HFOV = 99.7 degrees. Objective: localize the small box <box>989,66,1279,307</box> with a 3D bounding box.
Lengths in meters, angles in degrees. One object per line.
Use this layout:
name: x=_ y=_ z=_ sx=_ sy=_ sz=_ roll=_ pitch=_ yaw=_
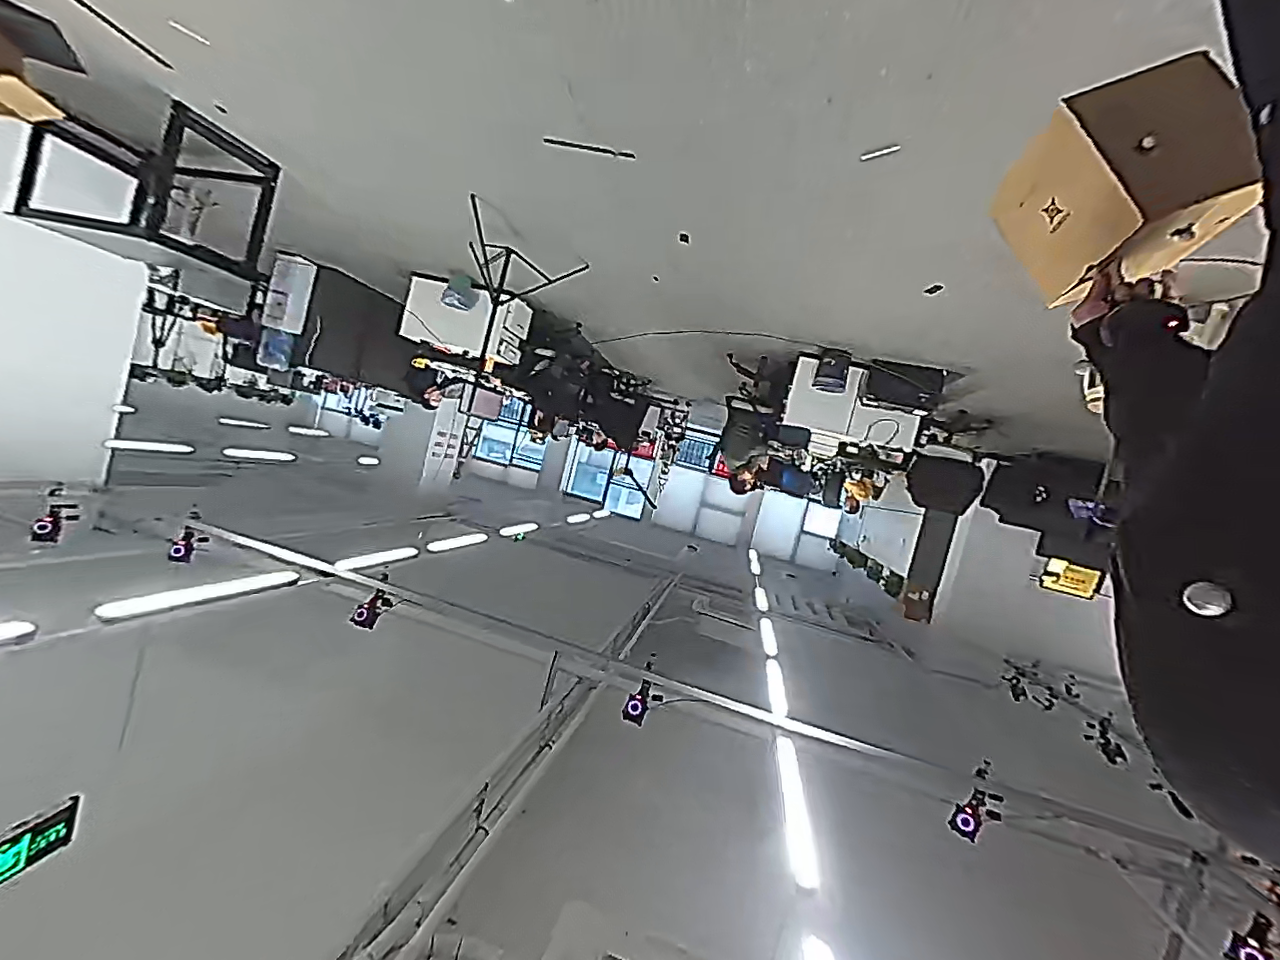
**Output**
small box: x=0.582 y=-0.348 z=0.655 sx=0.176 sy=0.179 sz=0.168 roll=-17 pitch=166 yaw=1
